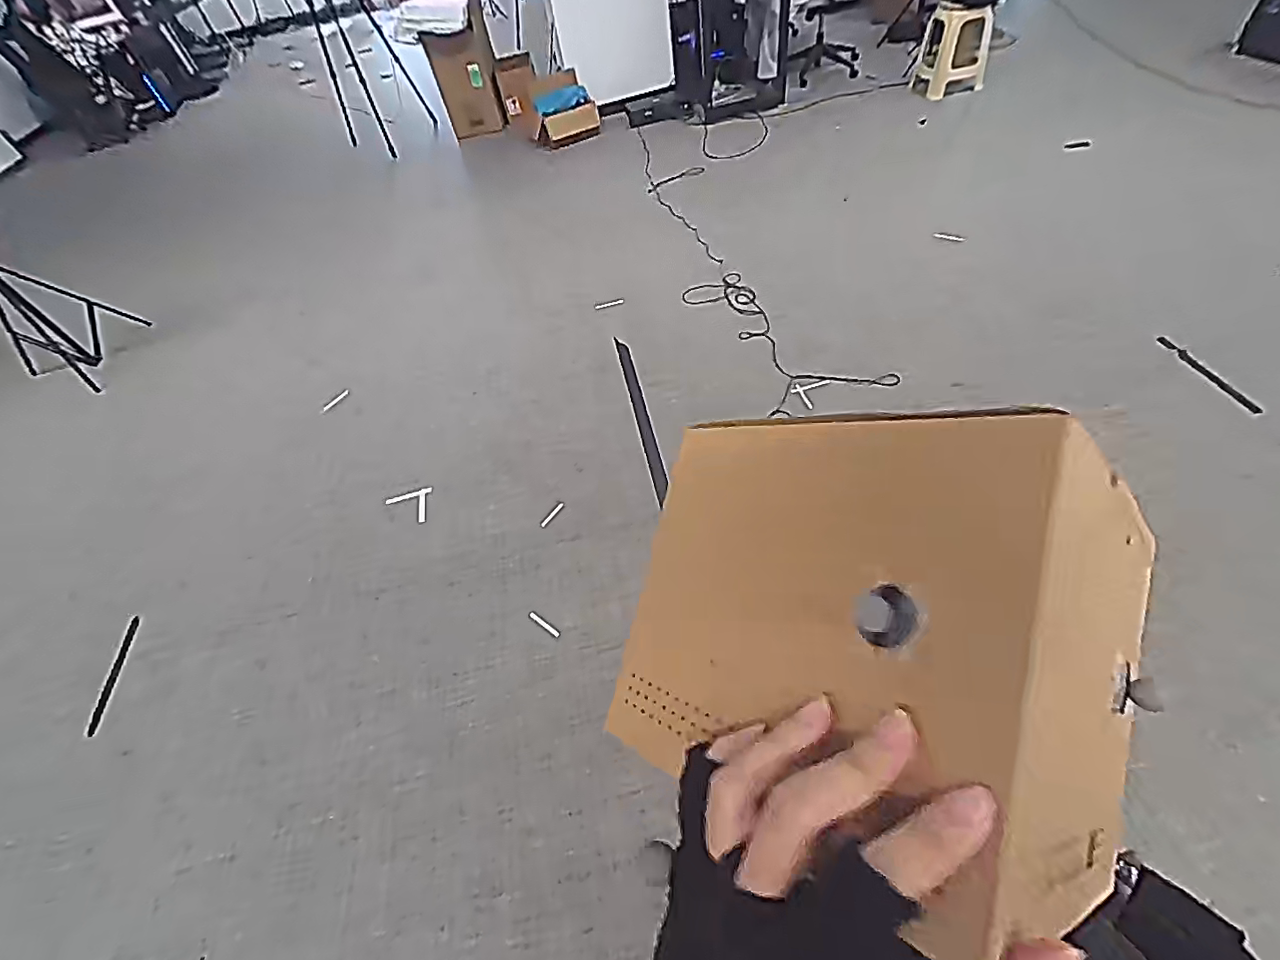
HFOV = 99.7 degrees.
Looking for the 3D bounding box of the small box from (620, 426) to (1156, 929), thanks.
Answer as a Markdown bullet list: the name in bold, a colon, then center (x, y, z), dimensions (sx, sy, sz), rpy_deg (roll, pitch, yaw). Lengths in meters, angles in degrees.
- **small box**: center (0.116, 0.082, 0.271), dimensions (0.179, 0.168, 0.176), rpy_deg (3, 75, 53)
